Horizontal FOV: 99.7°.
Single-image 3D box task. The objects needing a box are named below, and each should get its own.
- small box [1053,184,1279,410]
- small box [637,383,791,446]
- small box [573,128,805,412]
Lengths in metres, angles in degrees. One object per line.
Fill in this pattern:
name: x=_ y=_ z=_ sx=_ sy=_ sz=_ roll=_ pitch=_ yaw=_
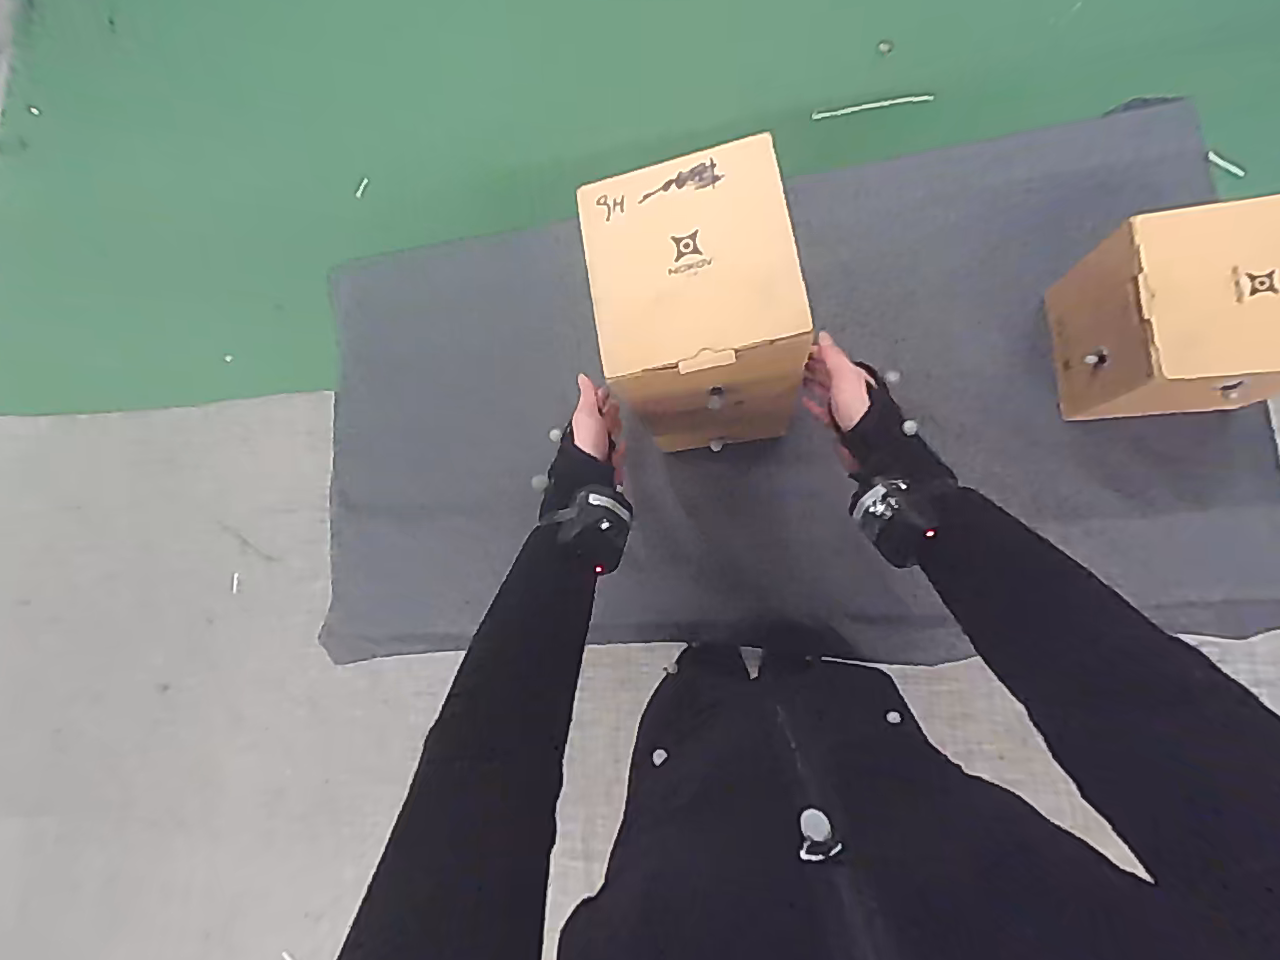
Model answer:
small box: x=0.568 y=-0.175 z=0.562 sx=0.179 sy=0.176 sz=0.168 roll=-4 pitch=83 yaw=11
small box: x=0.086 y=-0.149 z=0.664 sx=0.168 sy=0.176 sz=0.179 roll=-8 pitch=83 yaw=11
small box: x=0.052 y=-0.170 z=0.506 sx=0.168 sy=0.176 sz=0.179 roll=-11 pitch=81 yaw=11
